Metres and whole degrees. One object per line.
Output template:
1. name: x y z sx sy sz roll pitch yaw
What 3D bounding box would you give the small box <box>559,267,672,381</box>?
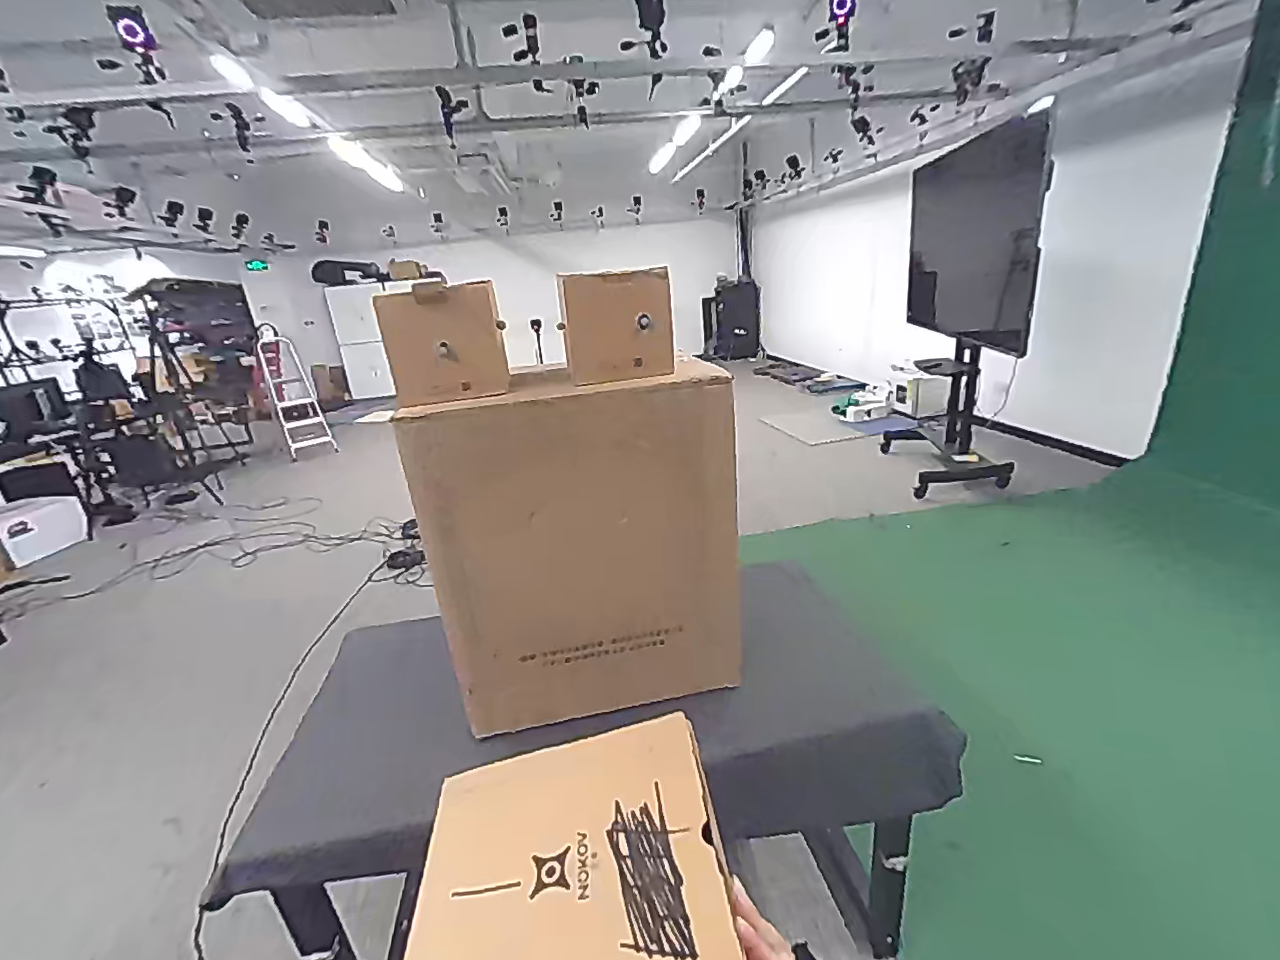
1. small box: -0.044 -0.267 0.924 0.168 0.176 0.179 -7 21 -10

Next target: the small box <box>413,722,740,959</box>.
1. small box: -0.027 0.300 0.359 0.179 0.176 0.168 -13 25 0

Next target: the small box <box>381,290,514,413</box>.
1. small box: -0.308 -0.215 0.898 0.168 0.176 0.179 -11 23 -11
